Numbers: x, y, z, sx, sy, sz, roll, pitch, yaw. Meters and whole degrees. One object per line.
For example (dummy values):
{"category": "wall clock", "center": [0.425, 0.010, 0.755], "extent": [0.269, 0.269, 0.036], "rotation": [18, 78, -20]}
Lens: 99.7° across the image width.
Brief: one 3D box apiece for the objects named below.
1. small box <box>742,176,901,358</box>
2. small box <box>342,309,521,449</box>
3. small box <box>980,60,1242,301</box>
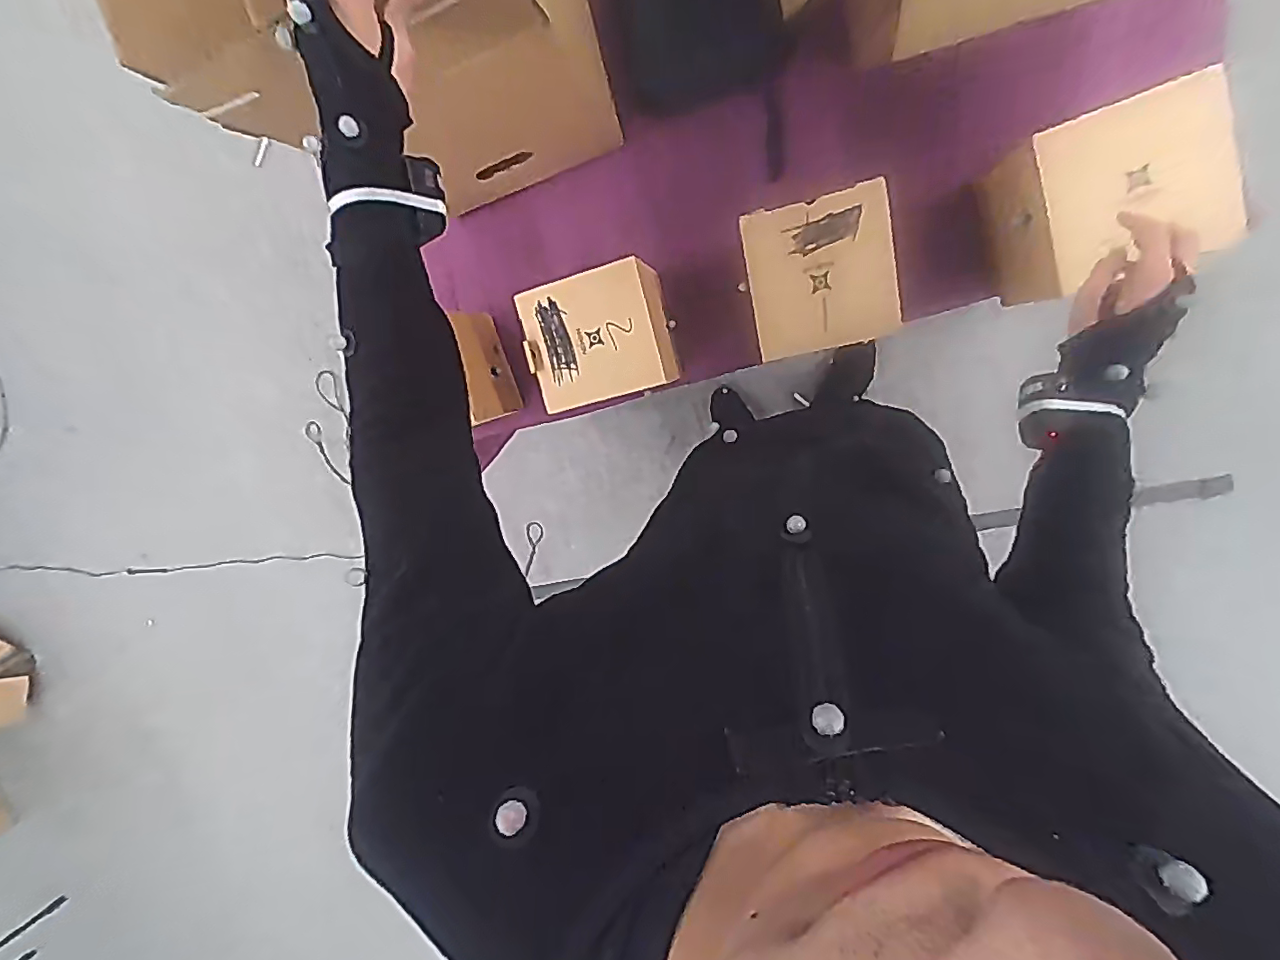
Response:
{"category": "small box", "center": [0.229, -0.265, 0.714], "extent": [0.168, 0.176, 0.179], "rotation": [-9, 103, 15]}
{"category": "small box", "center": [-0.321, -0.160, 0.865], "extent": [0.179, 0.176, 0.168], "rotation": [-16, 100, 15]}
{"category": "small box", "center": [0.526, -0.324, 0.630], "extent": [0.168, 0.176, 0.179], "rotation": [-15, 101, 17]}
